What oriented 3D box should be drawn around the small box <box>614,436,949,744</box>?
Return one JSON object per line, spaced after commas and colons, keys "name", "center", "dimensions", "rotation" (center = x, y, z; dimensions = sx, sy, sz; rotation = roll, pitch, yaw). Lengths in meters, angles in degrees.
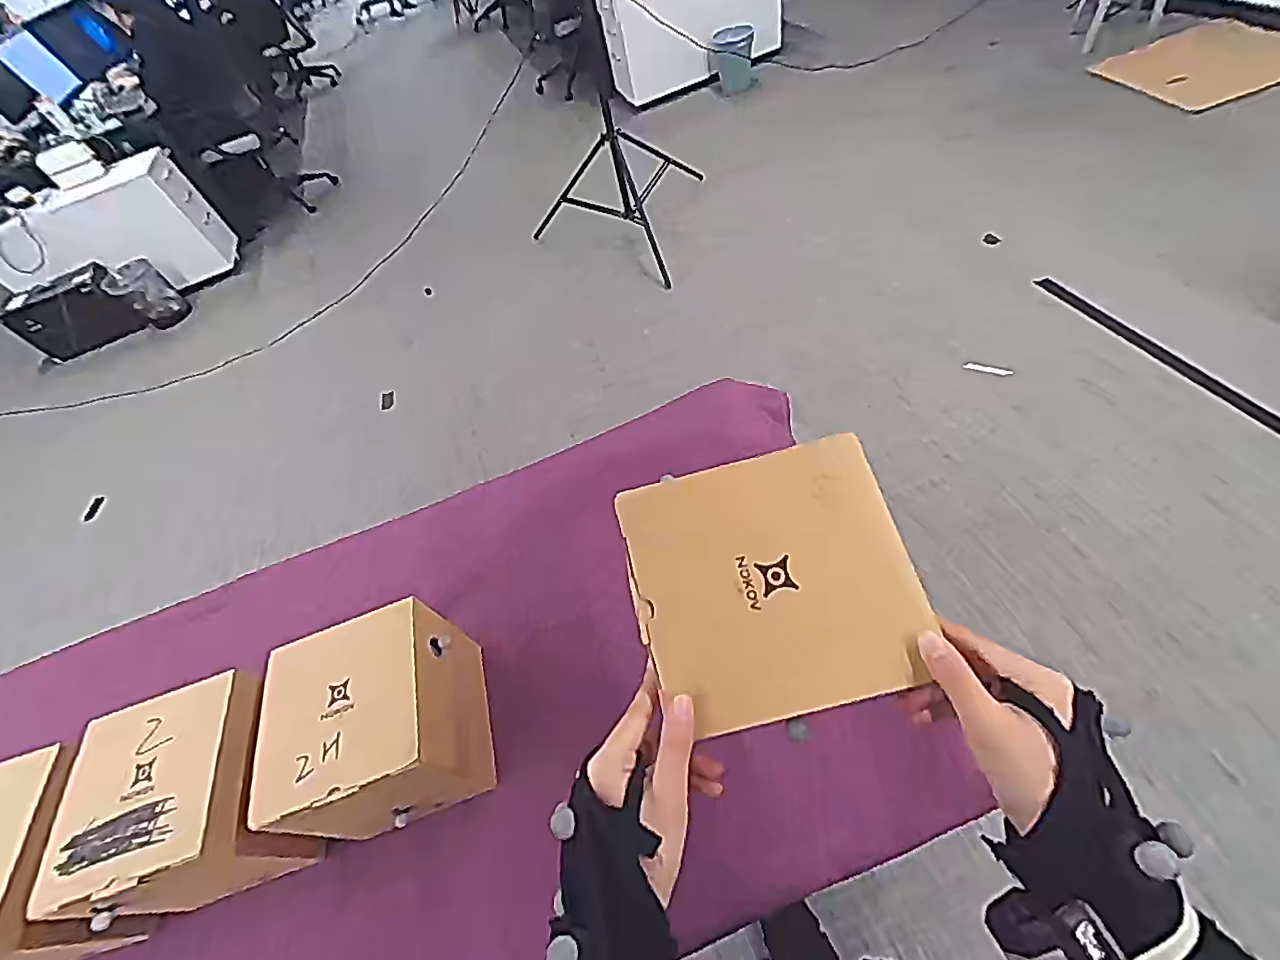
{"name": "small box", "center": [0.093, 0.091, 0.421], "dimensions": [0.179, 0.176, 0.168], "rotation": [-16, 68, 4]}
